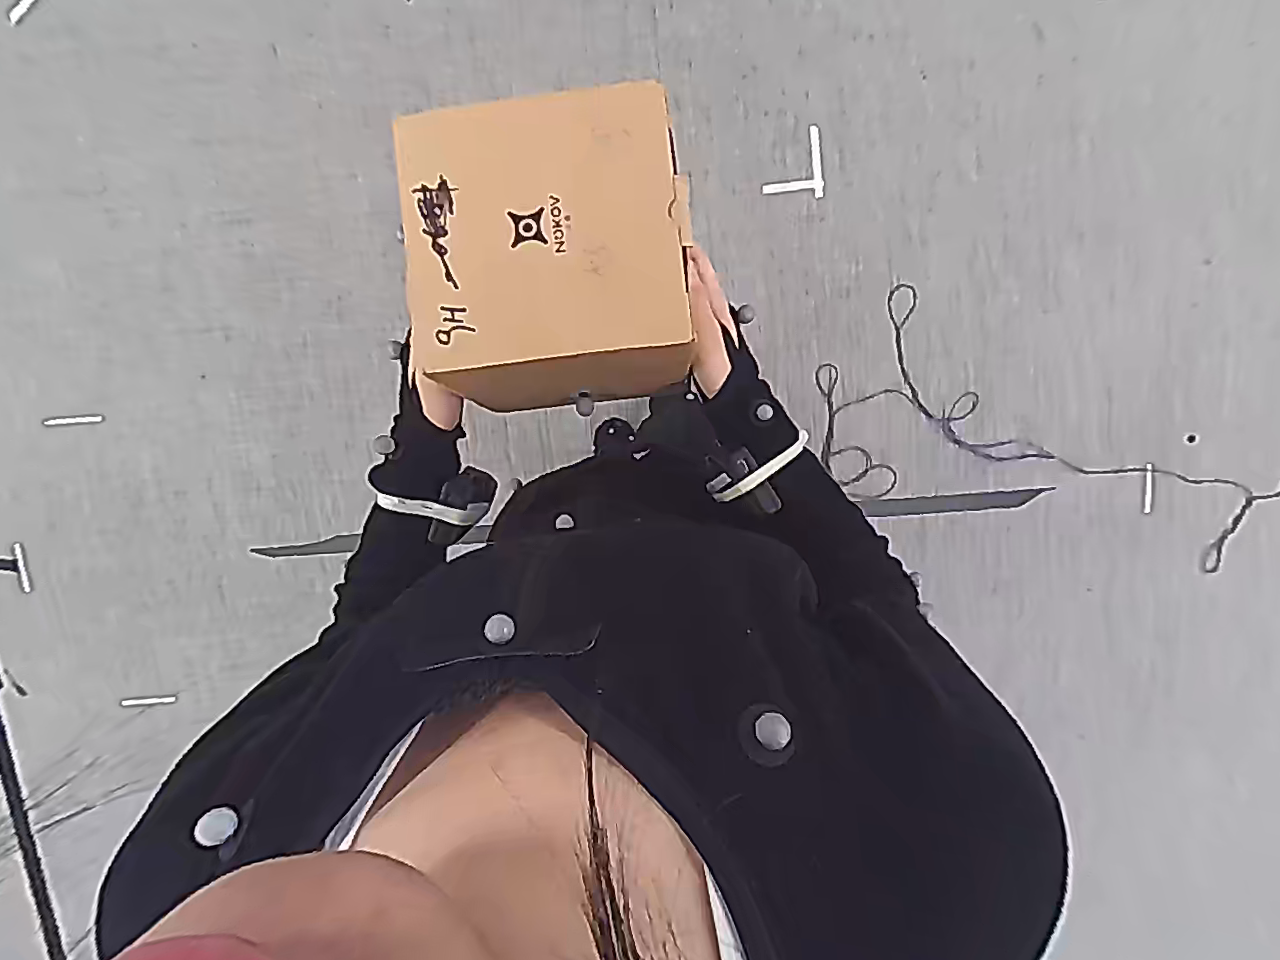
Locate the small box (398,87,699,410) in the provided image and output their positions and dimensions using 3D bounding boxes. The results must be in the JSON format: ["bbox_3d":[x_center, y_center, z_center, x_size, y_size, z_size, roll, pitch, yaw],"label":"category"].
[{"bbox_3d":[-0.057,-0.154,0.416,0.179,0.176,0.168,-7,88,1],"label":"small box"}]
